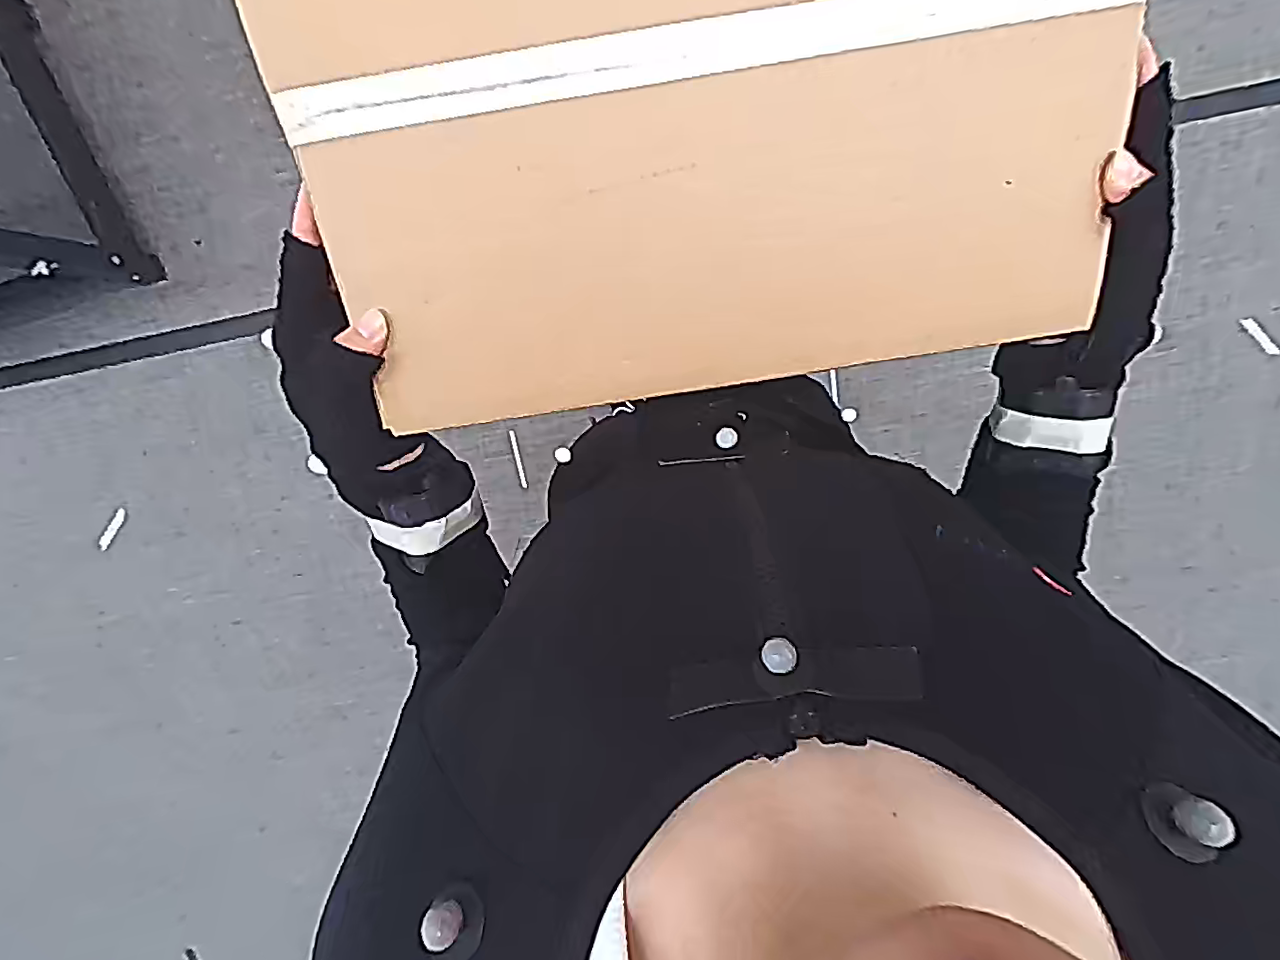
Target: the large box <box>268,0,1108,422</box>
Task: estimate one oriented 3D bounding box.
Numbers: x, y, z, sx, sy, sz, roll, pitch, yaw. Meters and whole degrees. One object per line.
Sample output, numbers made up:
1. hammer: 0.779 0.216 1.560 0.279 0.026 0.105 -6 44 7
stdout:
1. large box: 0.023 -0.259 0.403 0.408 0.320 0.320 -9 113 1
